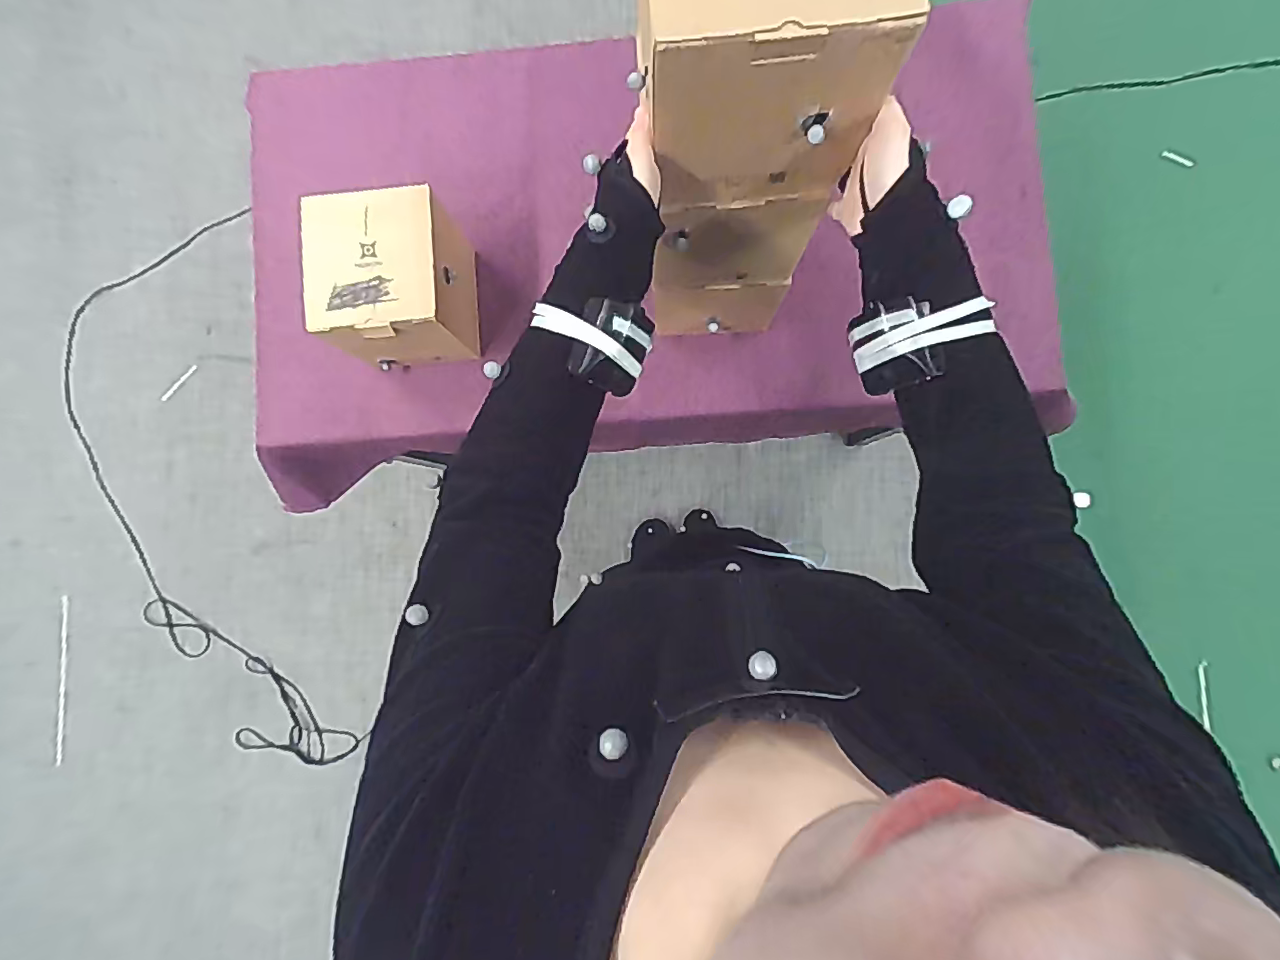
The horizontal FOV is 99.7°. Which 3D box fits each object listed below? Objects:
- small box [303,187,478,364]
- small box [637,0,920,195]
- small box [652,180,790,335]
[{"bbox_3d":[-0.332,-0.267,0.749,0.168,0.176,0.179,-5,85,2],"label":"small box"},{"bbox_3d":[0.082,-0.338,0.405,0.168,0.176,0.179,-4,86,1],"label":"small box"},{"bbox_3d":[0.100,-0.311,0.732,0.168,0.176,0.179,-1,86,3],"label":"small box"}]
